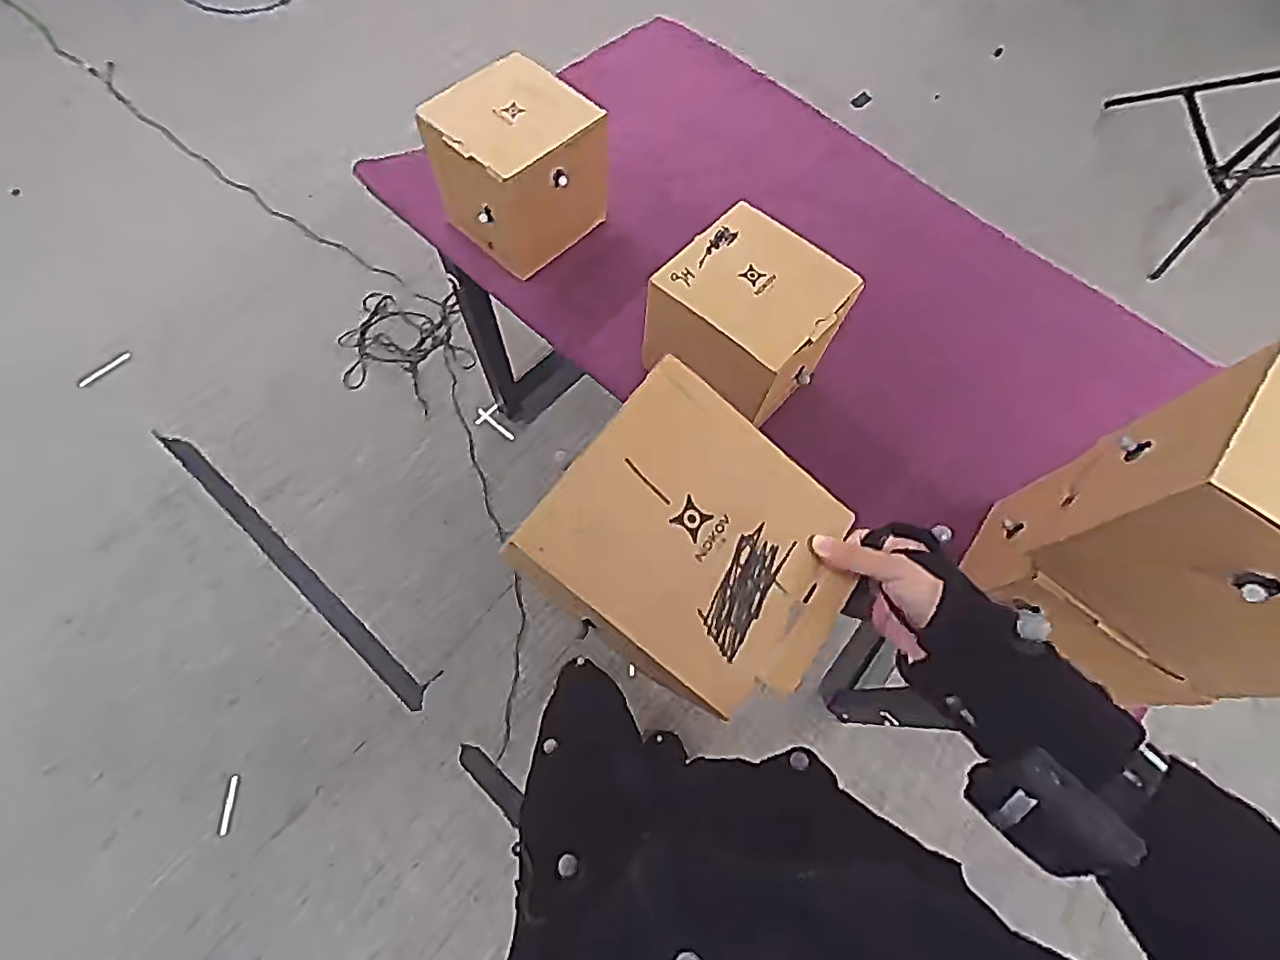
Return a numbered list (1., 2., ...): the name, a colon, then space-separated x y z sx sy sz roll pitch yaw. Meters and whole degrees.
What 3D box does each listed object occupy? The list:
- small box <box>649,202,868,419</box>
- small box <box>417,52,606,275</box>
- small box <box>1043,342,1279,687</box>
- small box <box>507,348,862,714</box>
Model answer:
1. small box: 0.128 -0.182 0.654 0.179 0.176 0.168 41 72 12
2. small box: -0.160 -0.419 0.735 0.168 0.176 0.179 41 70 11
3. small box: 0.462 0.035 0.404 0.179 0.176 0.168 42 71 14
4. small box: 0.020 0.040 0.412 0.179 0.176 0.168 41 70 -5
